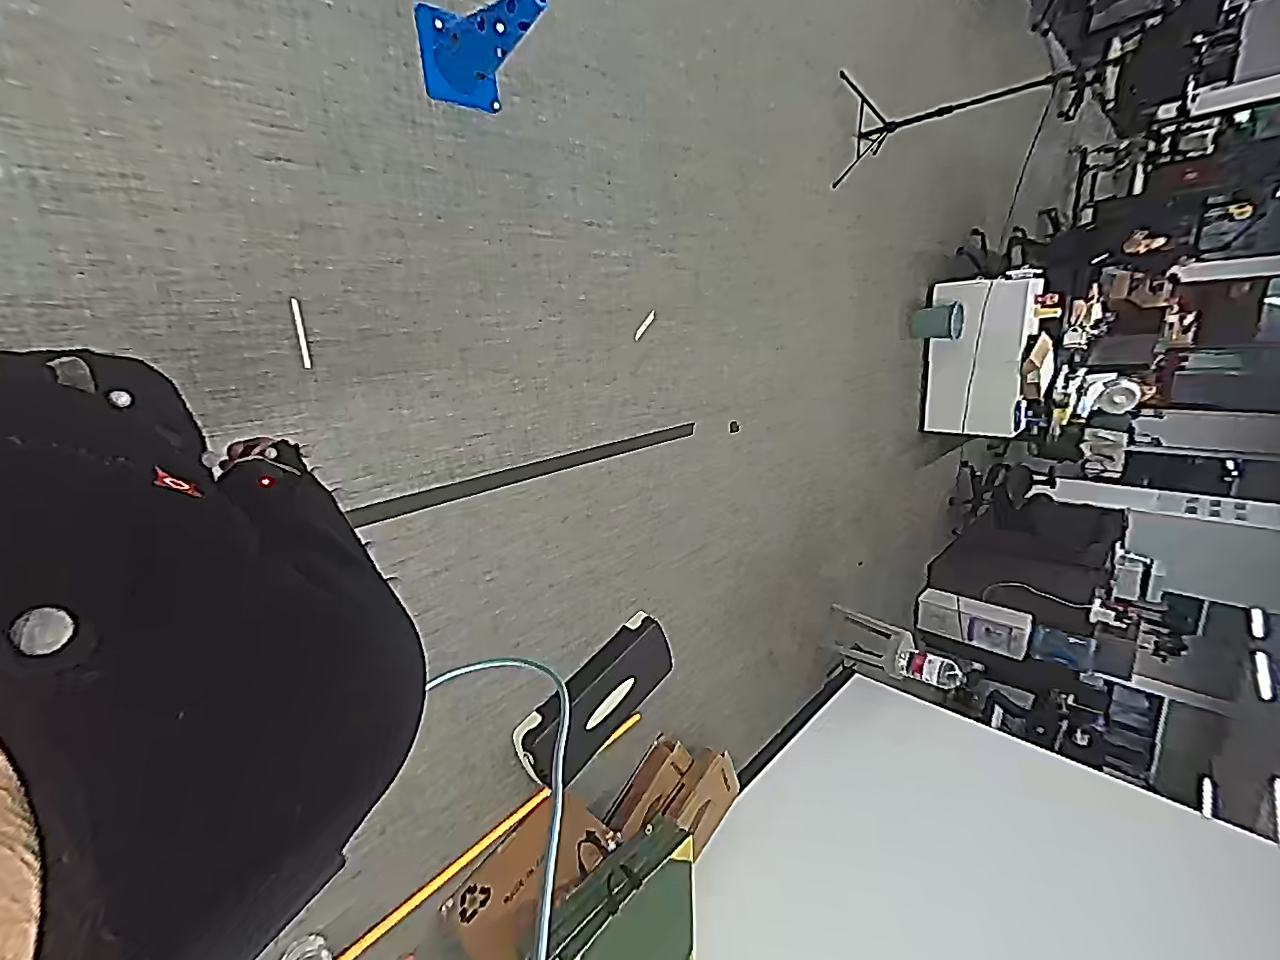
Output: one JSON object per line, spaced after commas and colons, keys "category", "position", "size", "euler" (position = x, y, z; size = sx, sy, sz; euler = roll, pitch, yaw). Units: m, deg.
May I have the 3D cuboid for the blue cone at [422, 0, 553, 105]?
{"category": "blue cone", "position": [-0.325, -1.029, 1.226], "size": [0.192, 0.380, 0.193], "euler": [-17, 110, -43]}
